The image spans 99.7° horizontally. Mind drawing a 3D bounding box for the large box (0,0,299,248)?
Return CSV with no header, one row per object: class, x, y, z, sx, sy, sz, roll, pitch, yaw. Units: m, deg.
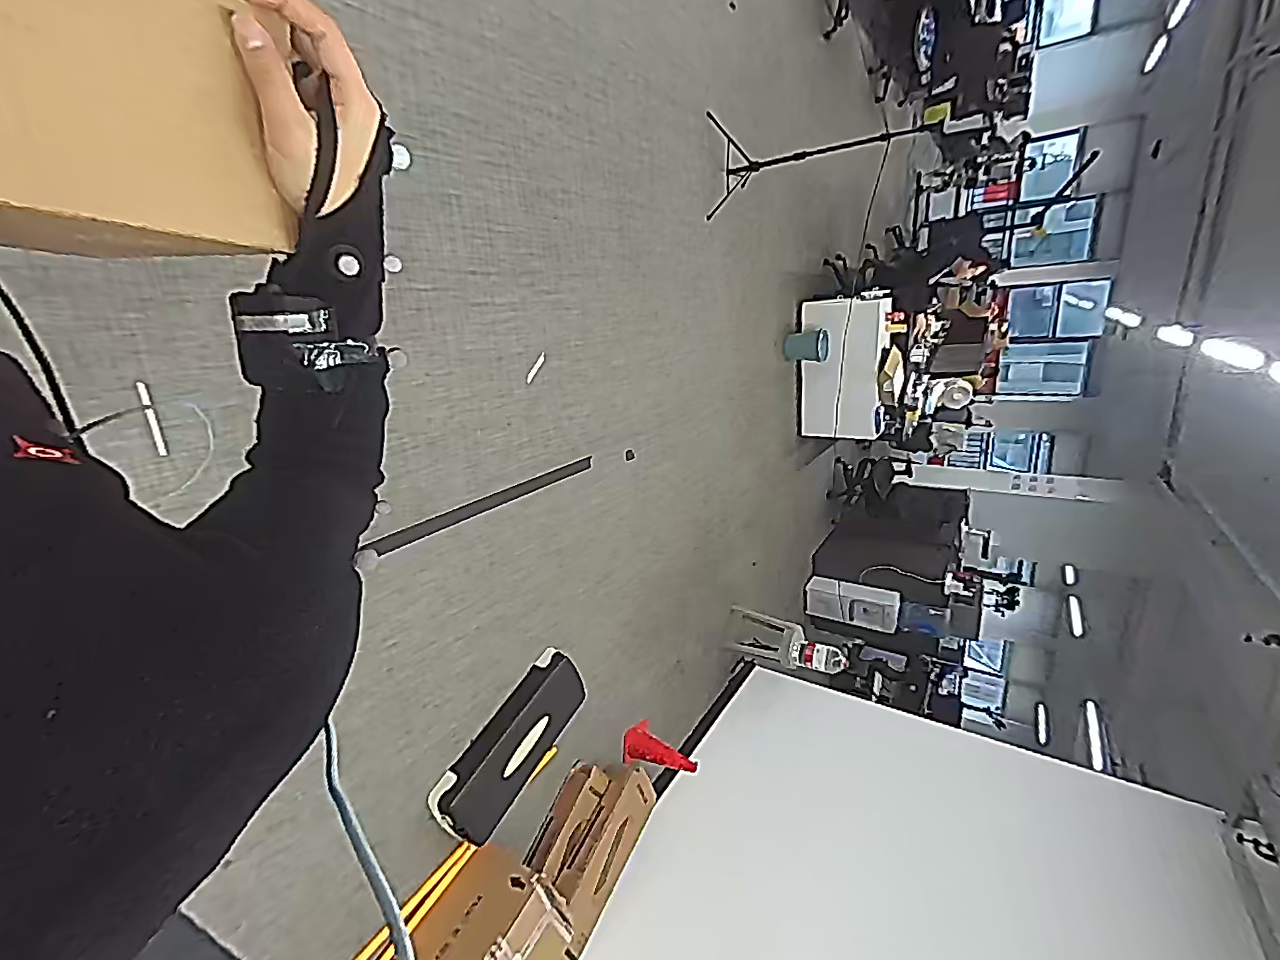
large box,-0.434,-0.287,0.208,0.408,0.320,0.320,-20,119,-58
